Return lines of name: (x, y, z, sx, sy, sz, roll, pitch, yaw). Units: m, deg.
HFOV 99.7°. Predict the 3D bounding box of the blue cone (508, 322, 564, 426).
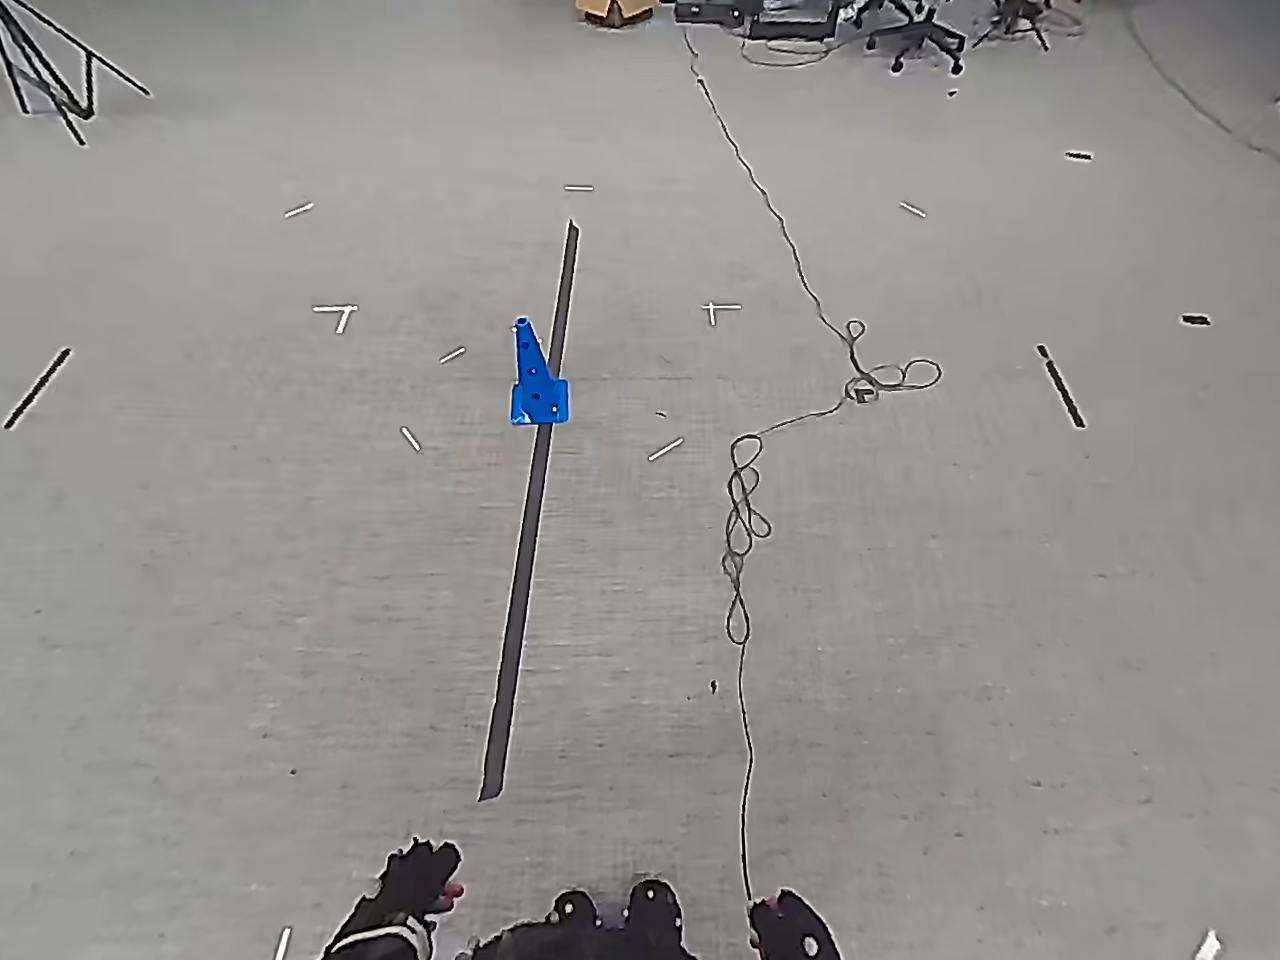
blue cone: (-0.367, -0.361, 1.776, 0.192, 0.380, 0.193, -2, 56, -1)
